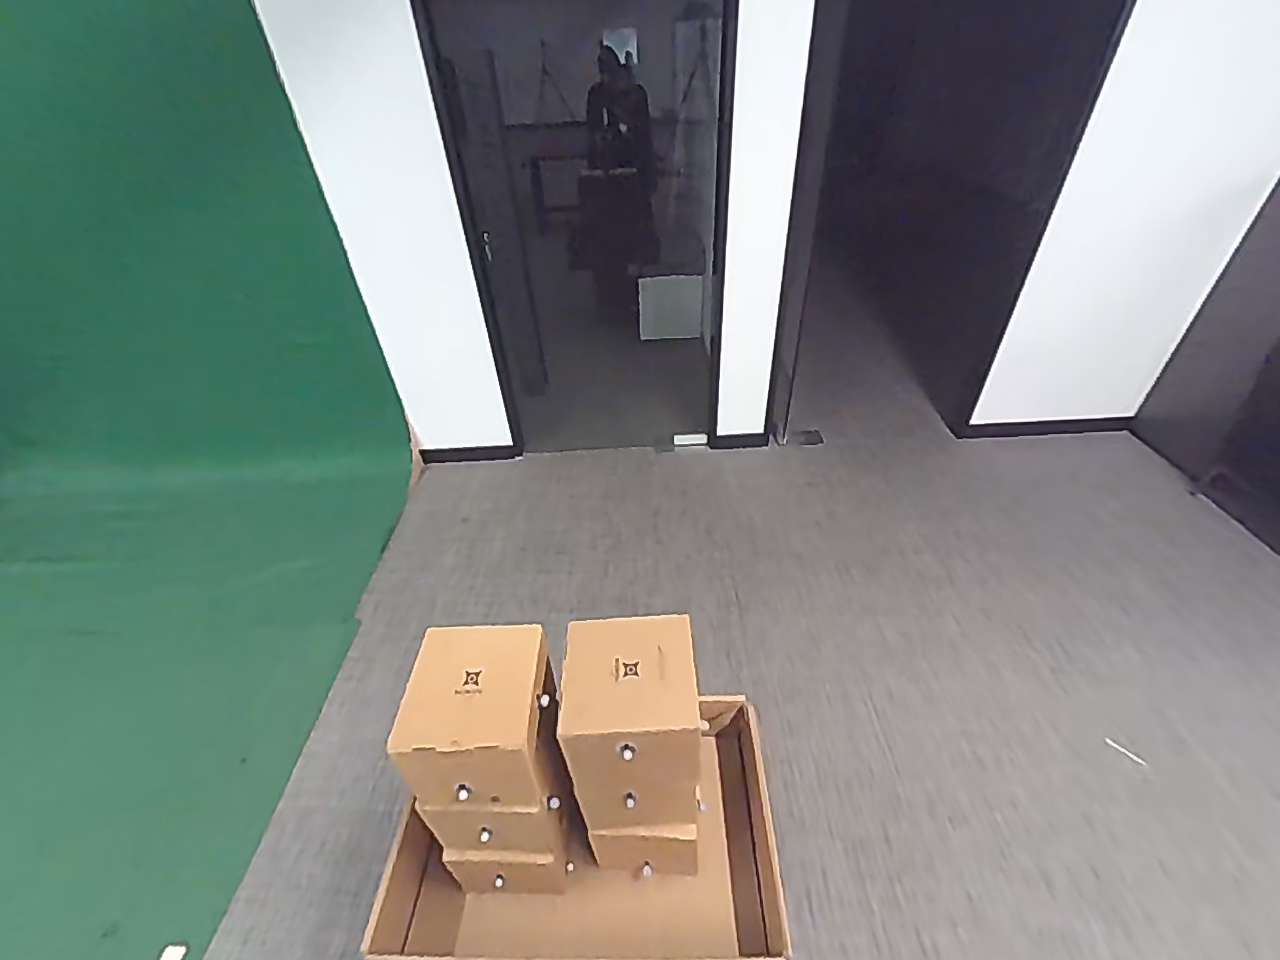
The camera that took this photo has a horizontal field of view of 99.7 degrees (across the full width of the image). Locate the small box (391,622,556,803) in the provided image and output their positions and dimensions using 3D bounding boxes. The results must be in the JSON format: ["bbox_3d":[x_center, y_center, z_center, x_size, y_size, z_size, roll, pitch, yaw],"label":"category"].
[{"bbox_3d":[-0.214,0.320,0.753,0.168,0.176,0.179,-2,39,0],"label":"small box"}]
